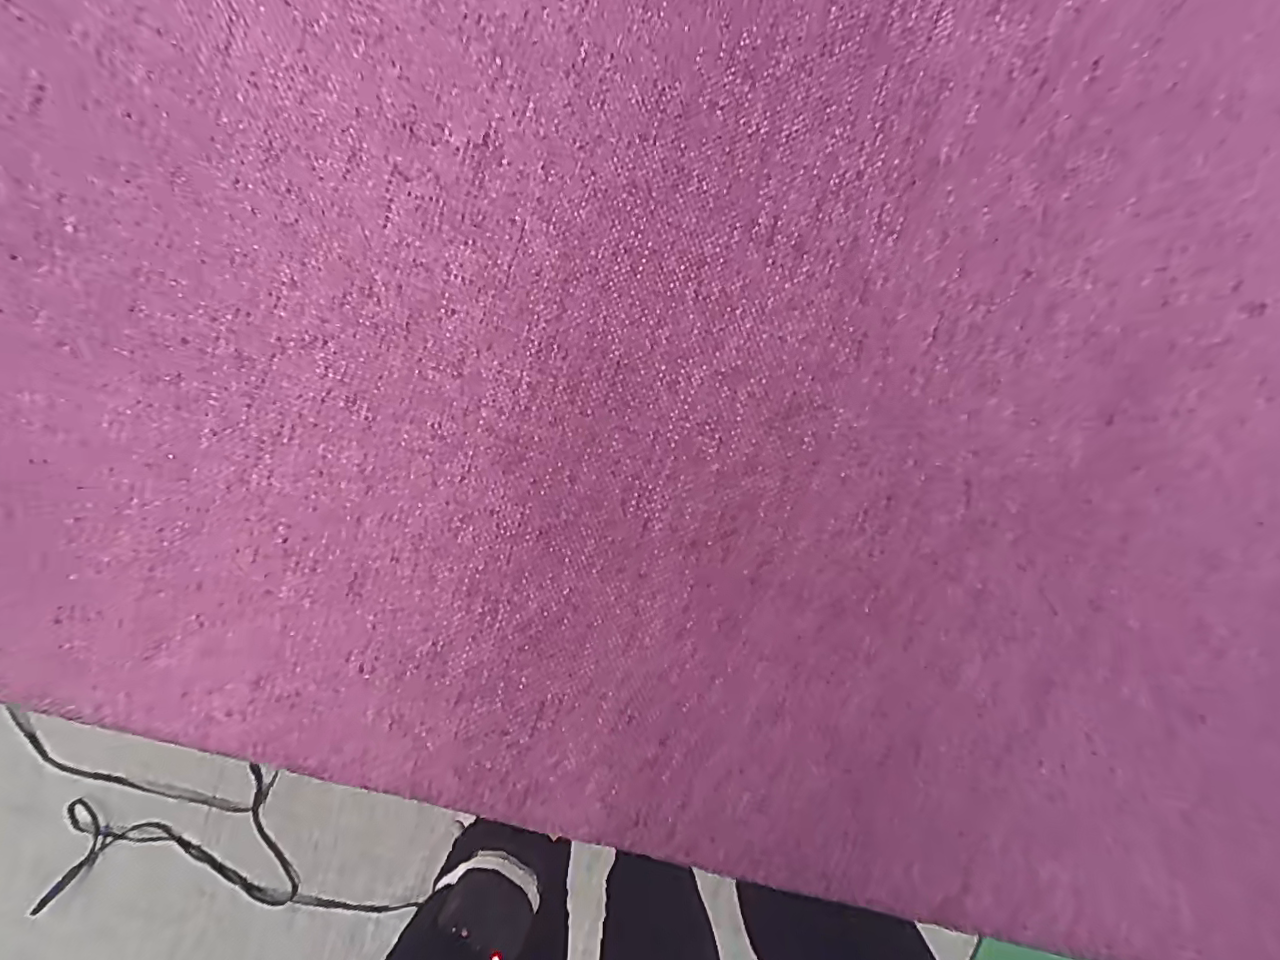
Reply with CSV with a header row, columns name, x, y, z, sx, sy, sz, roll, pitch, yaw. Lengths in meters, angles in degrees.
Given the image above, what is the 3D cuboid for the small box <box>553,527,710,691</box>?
name,x,y,z,sx,sy,sz,roll,pitch,yaw
small box,-0.011,0.177,0.799,0.179,0.176,0.168,16,96,-1
